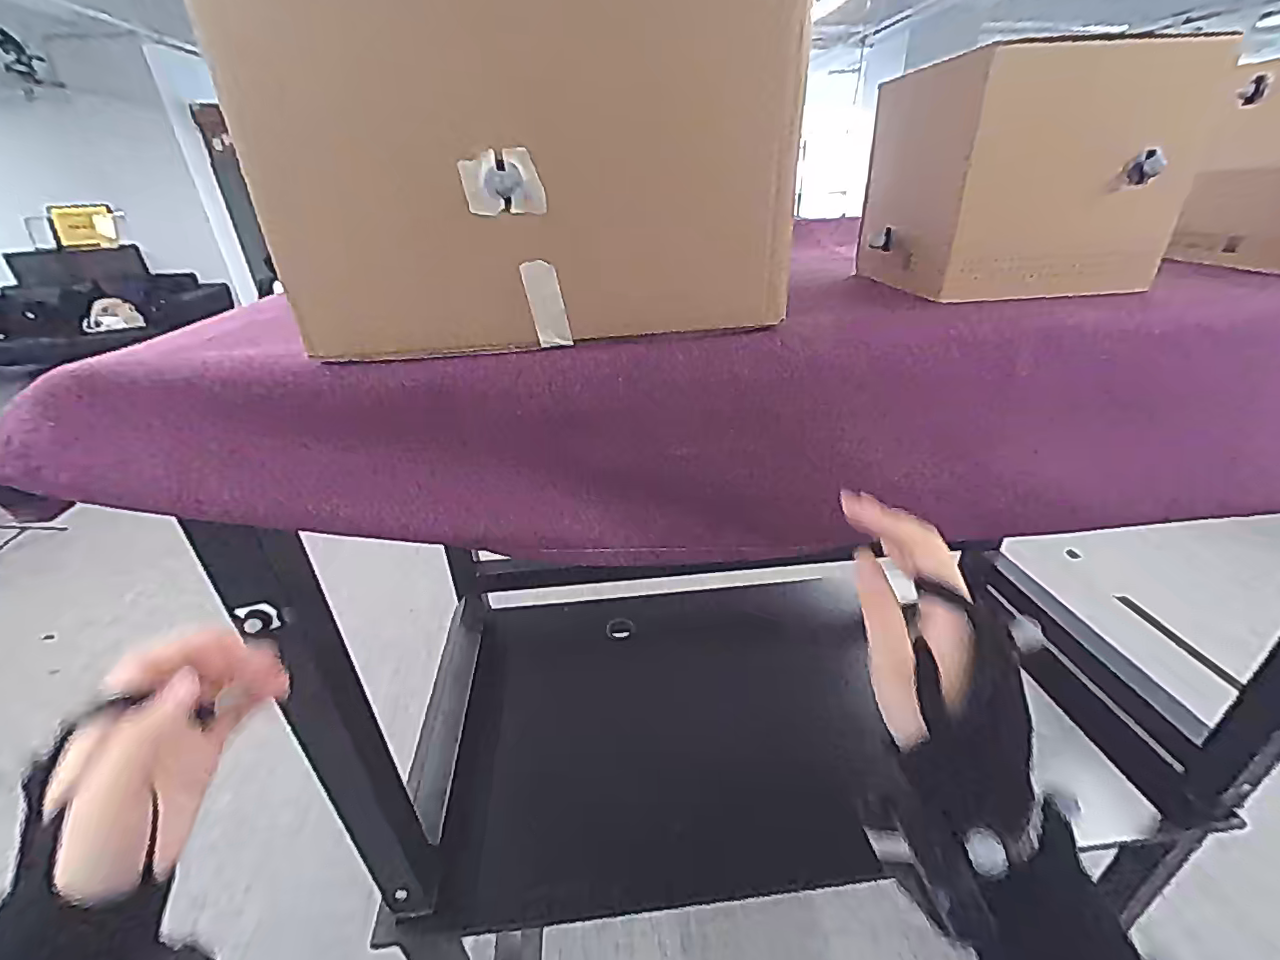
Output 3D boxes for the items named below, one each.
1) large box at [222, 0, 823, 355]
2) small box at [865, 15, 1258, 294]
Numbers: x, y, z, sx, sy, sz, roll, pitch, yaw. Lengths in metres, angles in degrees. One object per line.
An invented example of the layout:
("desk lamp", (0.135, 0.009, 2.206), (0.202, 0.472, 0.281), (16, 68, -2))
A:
("large box", (-0.080, -0.312, 0.447), (0.320, 0.320, 0.408), (-5, 28, -6))
("small box", (0.316, -0.259, 0.455), (0.179, 0.176, 0.168), (-4, 28, -2))
